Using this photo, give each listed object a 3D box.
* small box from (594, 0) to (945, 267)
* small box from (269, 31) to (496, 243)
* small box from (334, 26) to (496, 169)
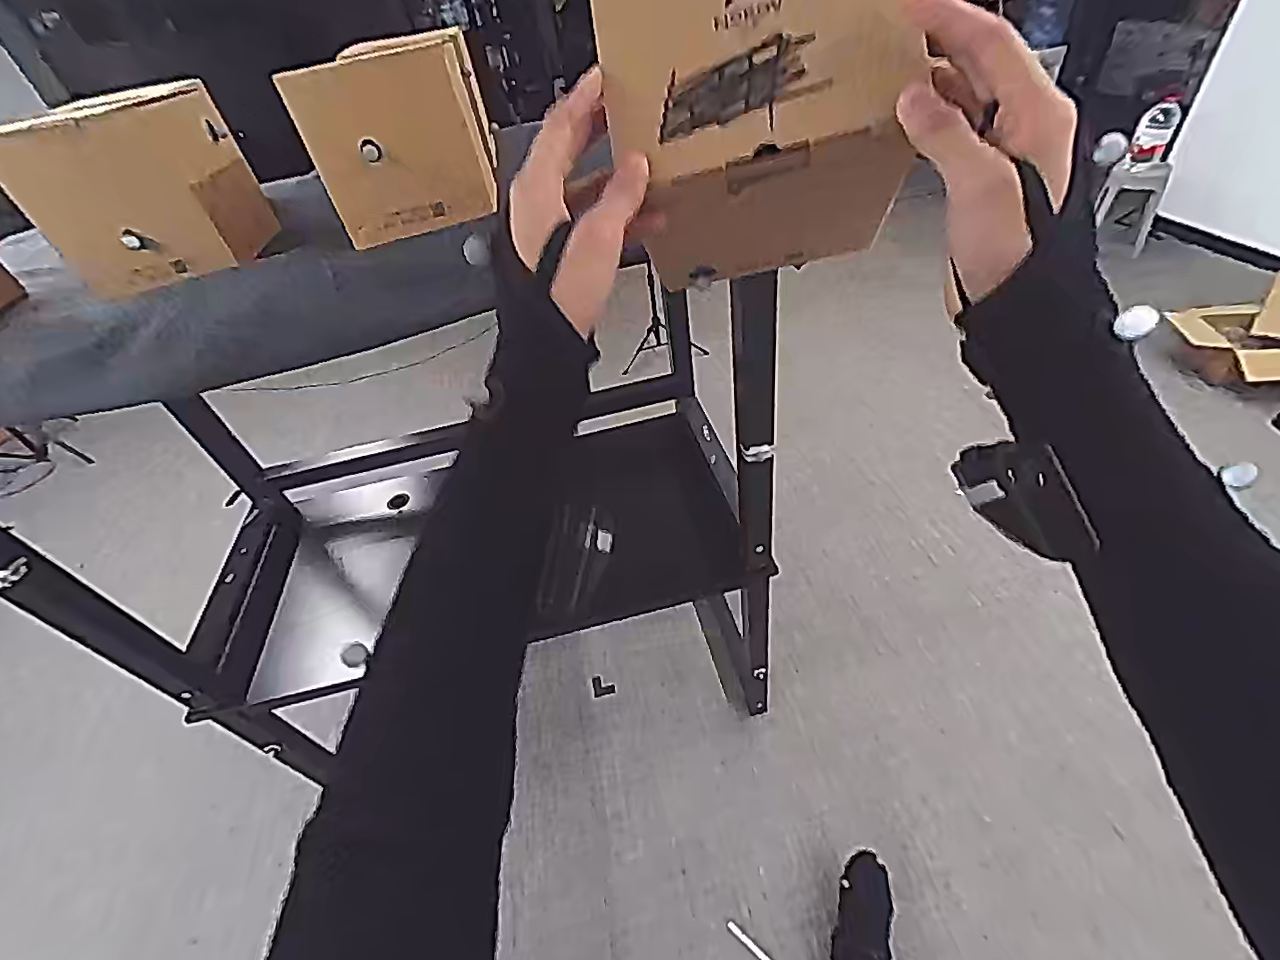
[{"bbox_3d":[0.073,-0.258,0.351,0.168,0.176,0.179,-8,88,12],"label":"small box"},{"bbox_3d":[-0.271,-0.387,0.619,0.168,0.176,0.179,-15,41,-4],"label":"small box"},{"bbox_3d":[-0.326,-0.567,0.823,0.168,0.176,0.179,-15,43,-3],"label":"small box"}]
